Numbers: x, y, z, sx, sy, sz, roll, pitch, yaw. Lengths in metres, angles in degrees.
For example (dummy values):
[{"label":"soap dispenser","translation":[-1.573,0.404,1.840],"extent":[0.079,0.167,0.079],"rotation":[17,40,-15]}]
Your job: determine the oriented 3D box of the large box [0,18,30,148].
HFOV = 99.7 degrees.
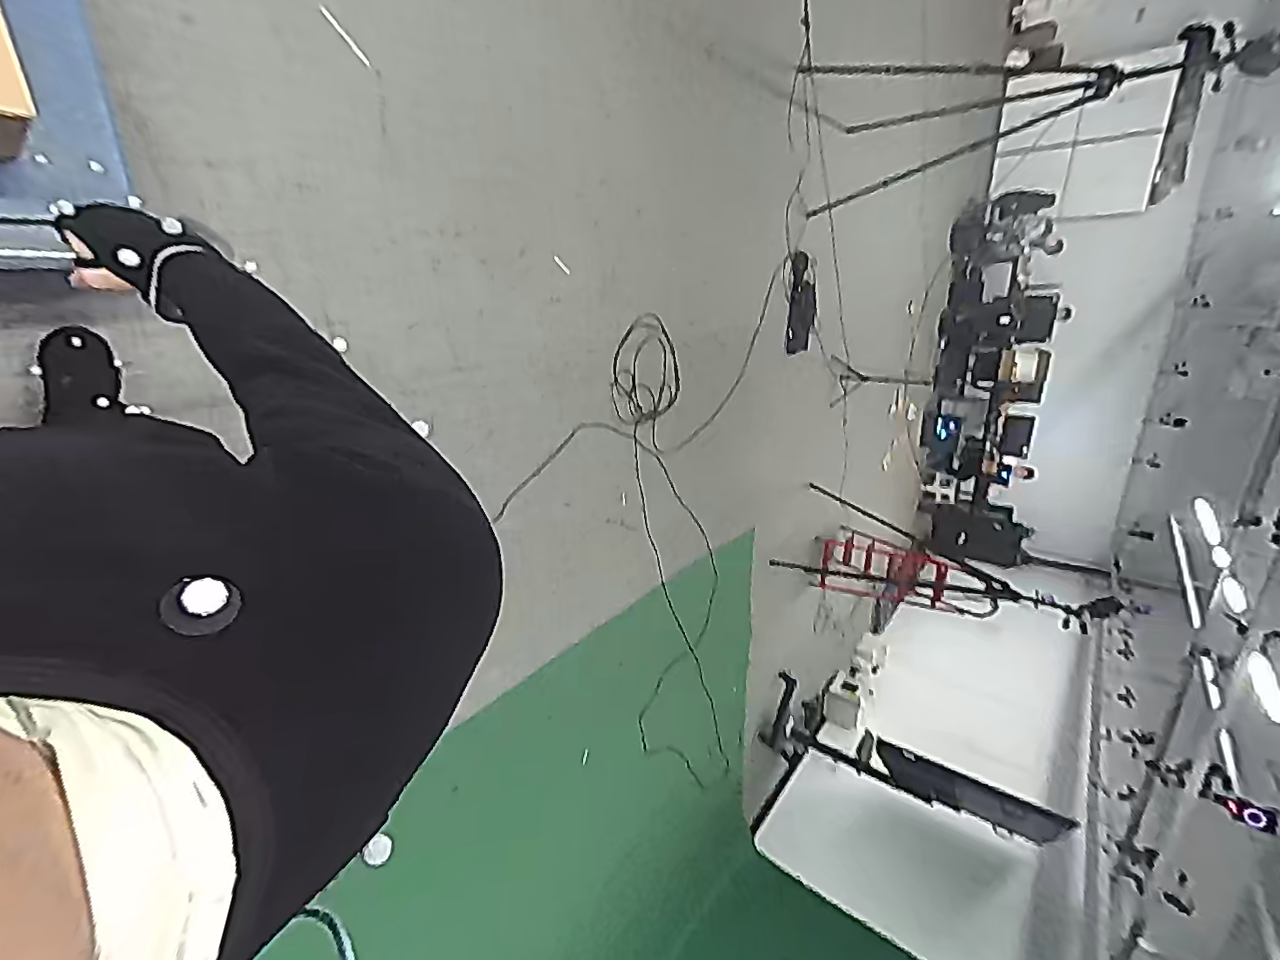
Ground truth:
[{"label":"large box","translation":[-1.048,-0.671,0.652],"extent":[0.320,0.320,0.408],"rotation":[-25,119,-45]}]
